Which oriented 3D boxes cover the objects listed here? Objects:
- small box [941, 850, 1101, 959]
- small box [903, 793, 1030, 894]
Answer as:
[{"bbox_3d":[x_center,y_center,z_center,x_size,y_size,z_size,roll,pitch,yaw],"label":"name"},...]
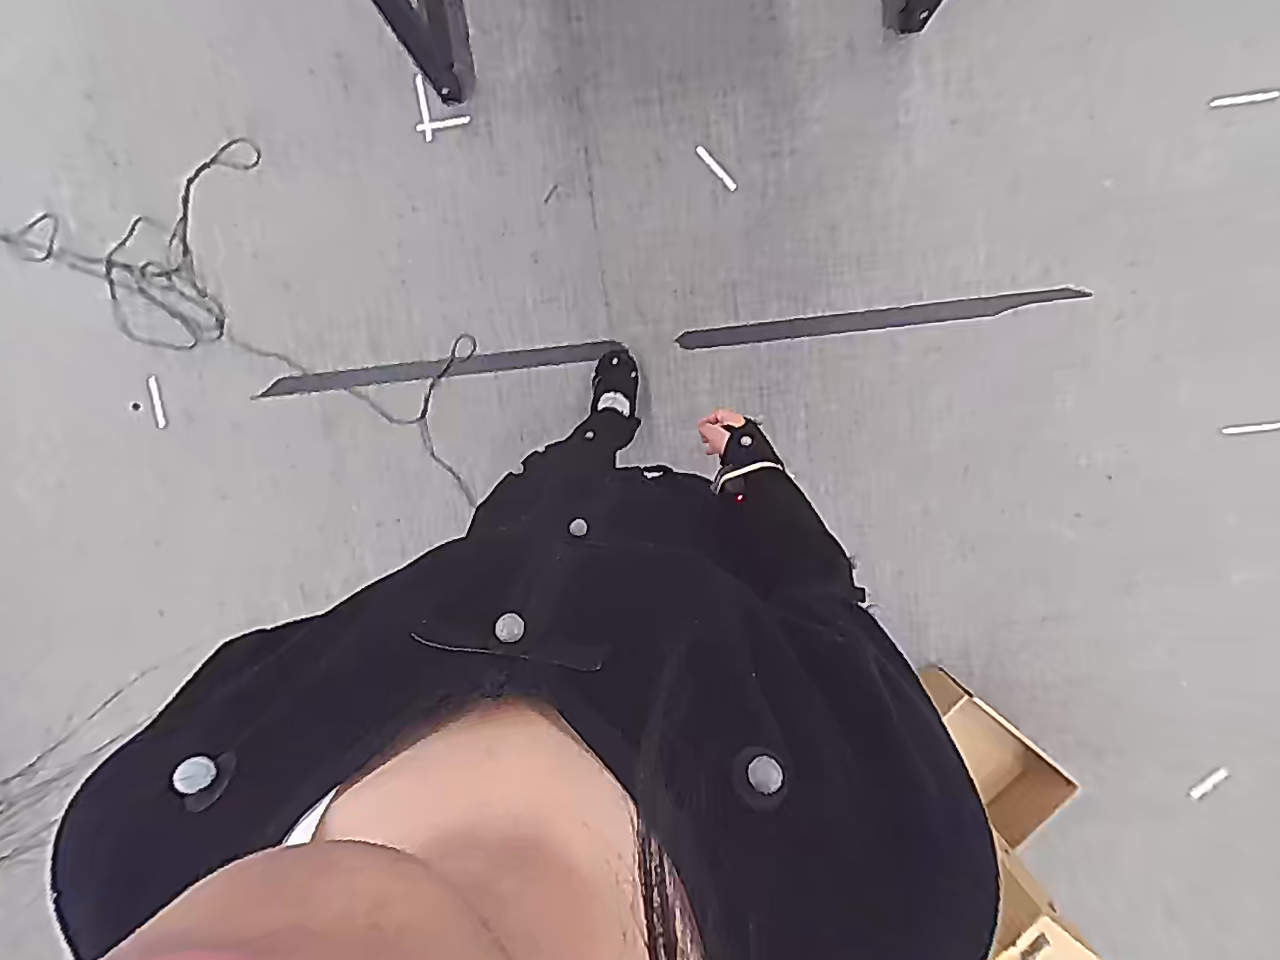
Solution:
[{"bbox_3d":[0.778,0.924,1.126,0.179,0.176,0.168,40,96,-6],"label":"small box"},{"bbox_3d":[0.776,0.899,1.289,0.179,0.176,0.168,41,96,-4],"label":"small box"}]
